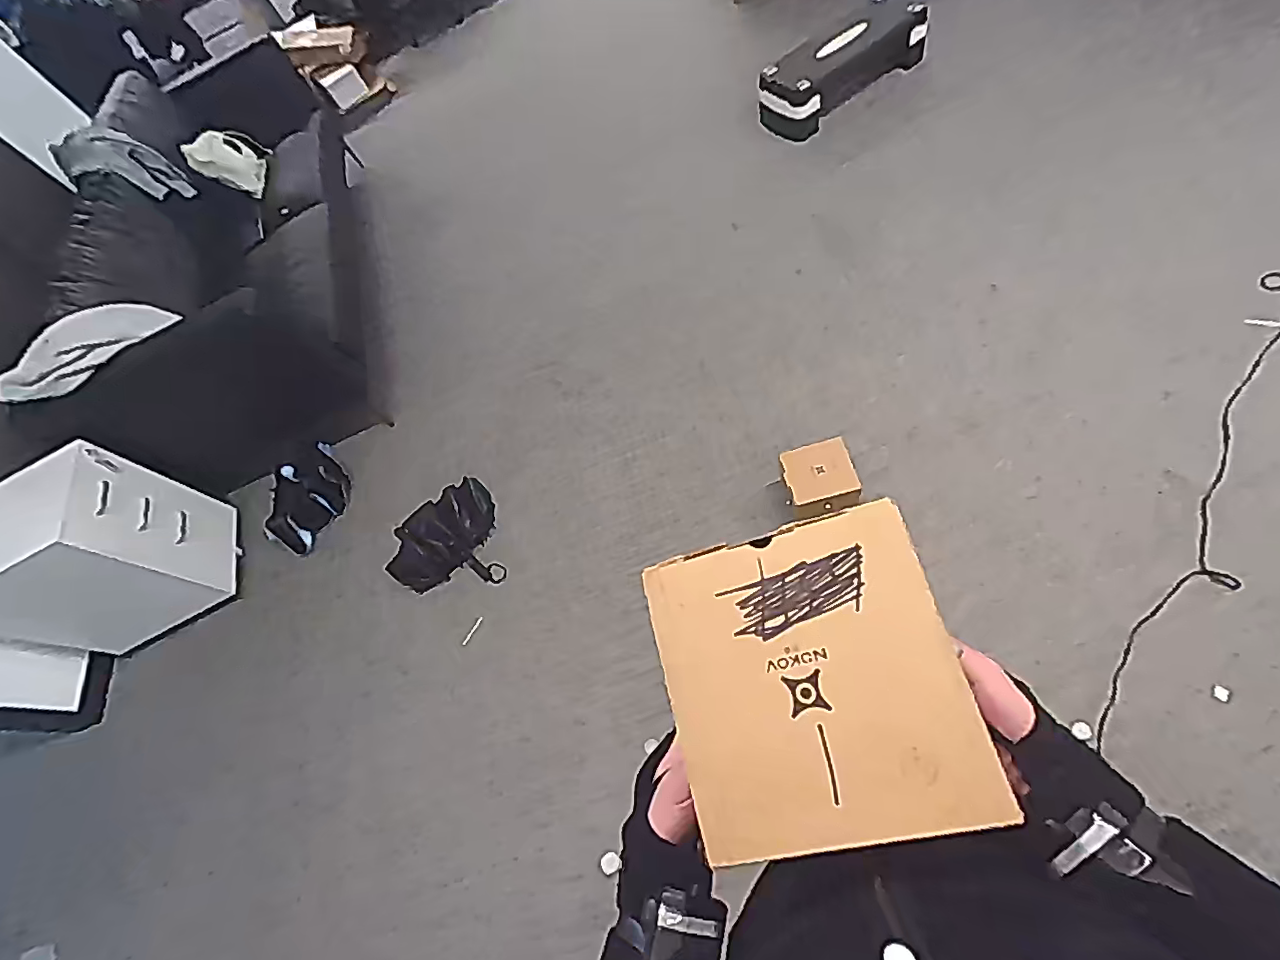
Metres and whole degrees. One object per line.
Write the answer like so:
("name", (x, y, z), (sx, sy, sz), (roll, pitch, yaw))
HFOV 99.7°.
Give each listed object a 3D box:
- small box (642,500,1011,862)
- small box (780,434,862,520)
("small box", (0.118, 0.134, 0.388), (0.168, 0.176, 0.179), (-19, 71, 15))
("small box", (0.505, 0.002, 1.519), (0.179, 0.176, 0.168), (-16, 61, 9))
